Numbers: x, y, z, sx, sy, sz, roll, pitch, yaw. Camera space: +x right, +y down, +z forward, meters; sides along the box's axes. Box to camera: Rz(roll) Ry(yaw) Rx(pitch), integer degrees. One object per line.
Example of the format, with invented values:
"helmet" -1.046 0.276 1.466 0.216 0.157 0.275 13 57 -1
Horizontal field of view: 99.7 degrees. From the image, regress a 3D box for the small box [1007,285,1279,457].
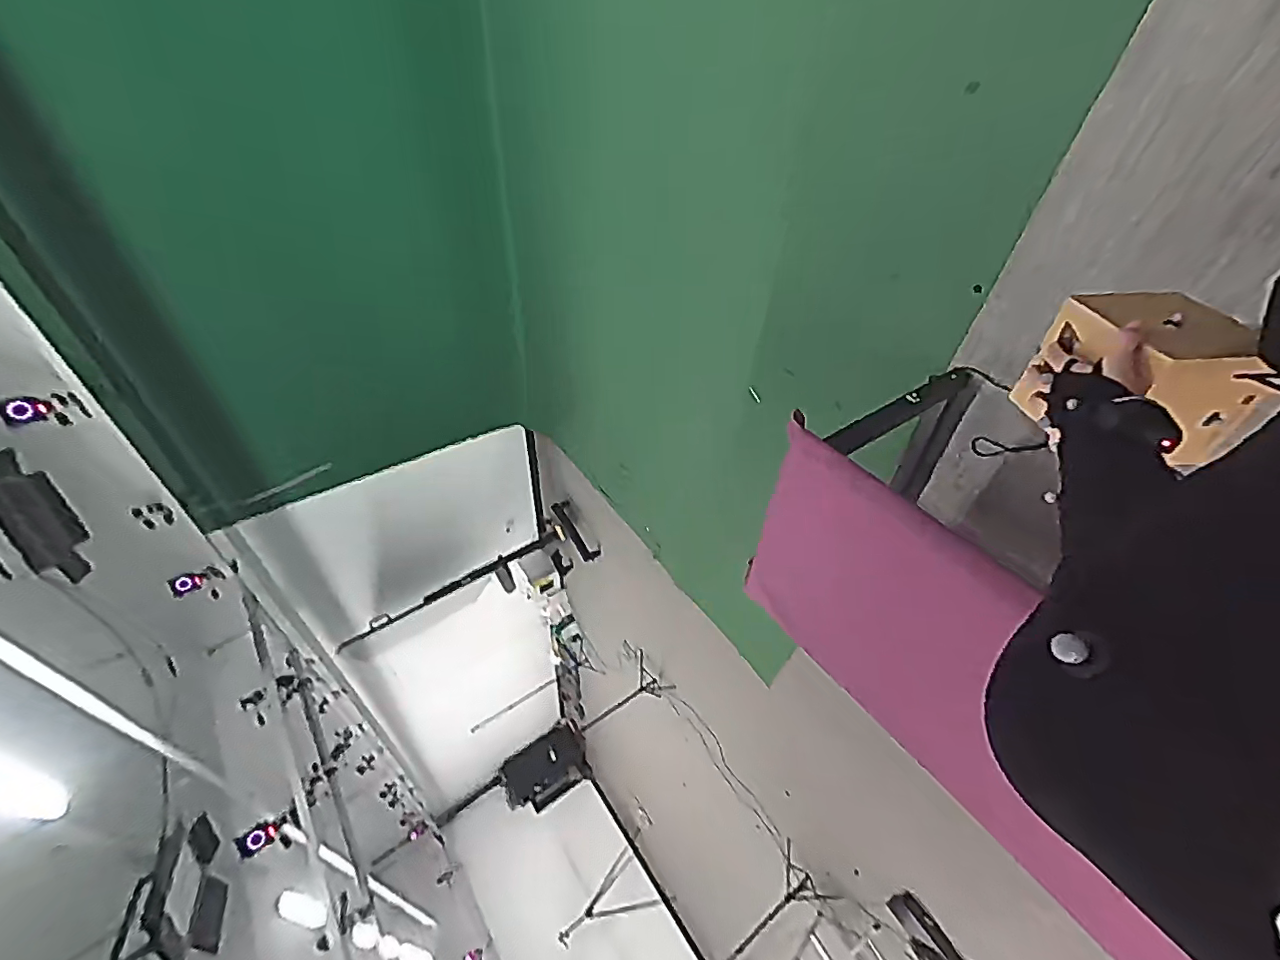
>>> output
"small box" 0.658 -0.148 0.726 0.179 0.176 0.168 -101 9 -47
